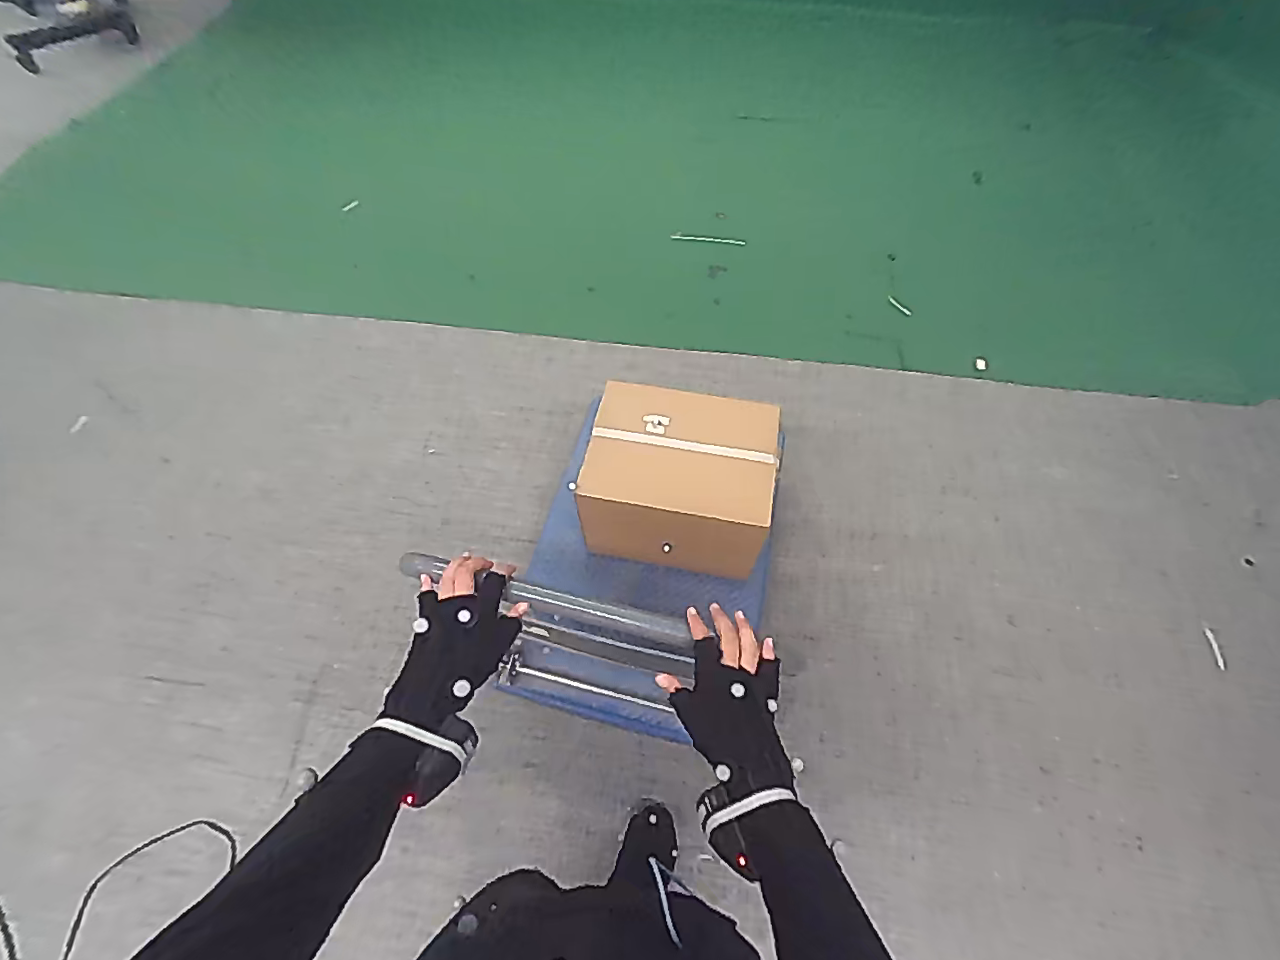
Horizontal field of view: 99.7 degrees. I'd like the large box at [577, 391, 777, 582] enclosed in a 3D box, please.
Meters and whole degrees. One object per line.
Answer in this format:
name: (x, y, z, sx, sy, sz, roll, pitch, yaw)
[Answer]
large box: (0.094, 0.024, 1.302, 0.408, 0.320, 0.320, 10, 58, 7)
